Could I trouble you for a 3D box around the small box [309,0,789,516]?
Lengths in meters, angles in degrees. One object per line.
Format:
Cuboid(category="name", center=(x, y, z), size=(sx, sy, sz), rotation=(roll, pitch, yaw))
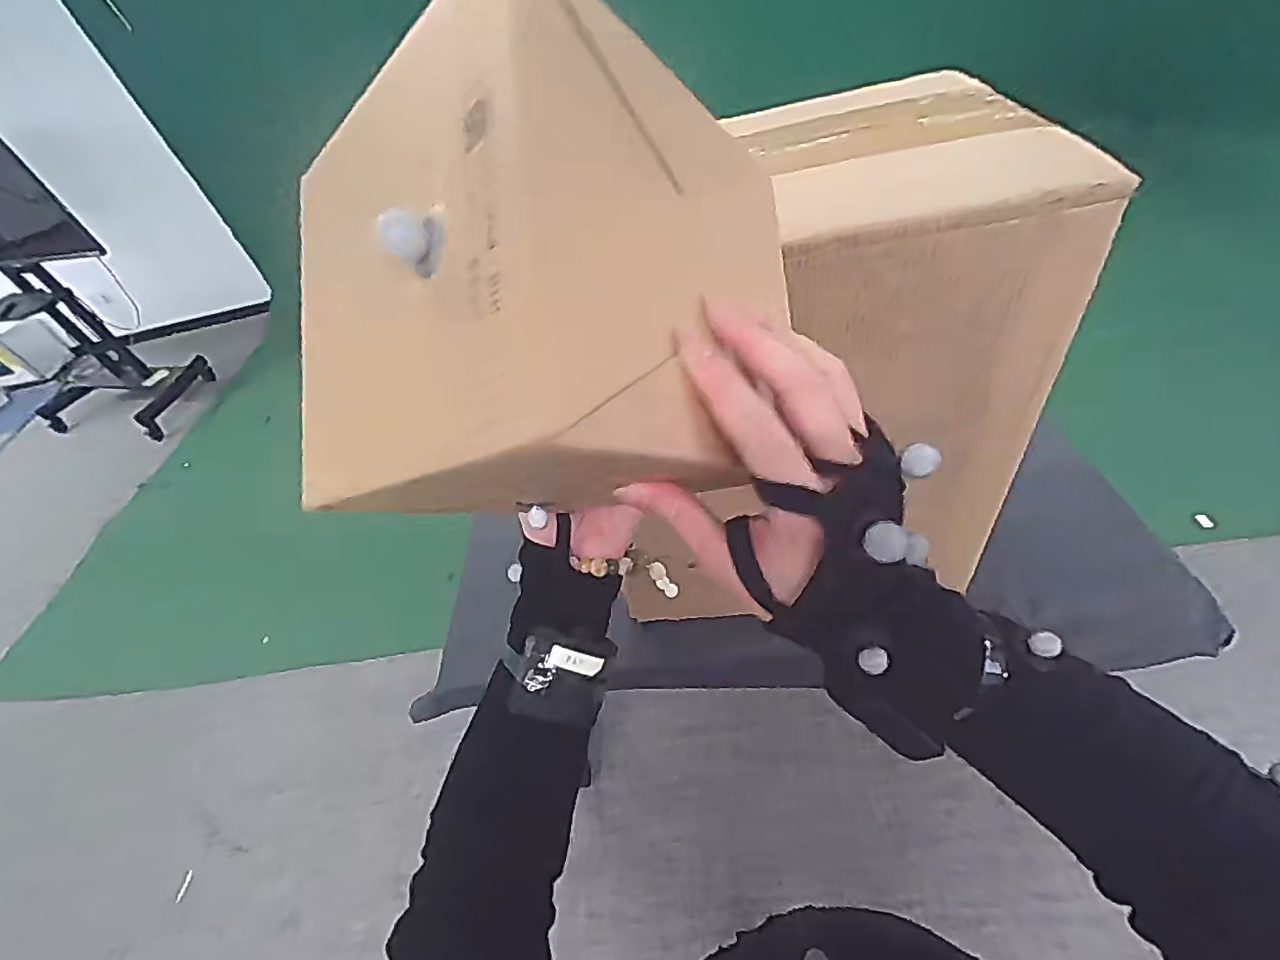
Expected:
Cuboid(category="small box", center=(-0.041, -0.077, 0.280), size=(0.176, 0.179, 0.168), rotation=(-14, 81, 39))
